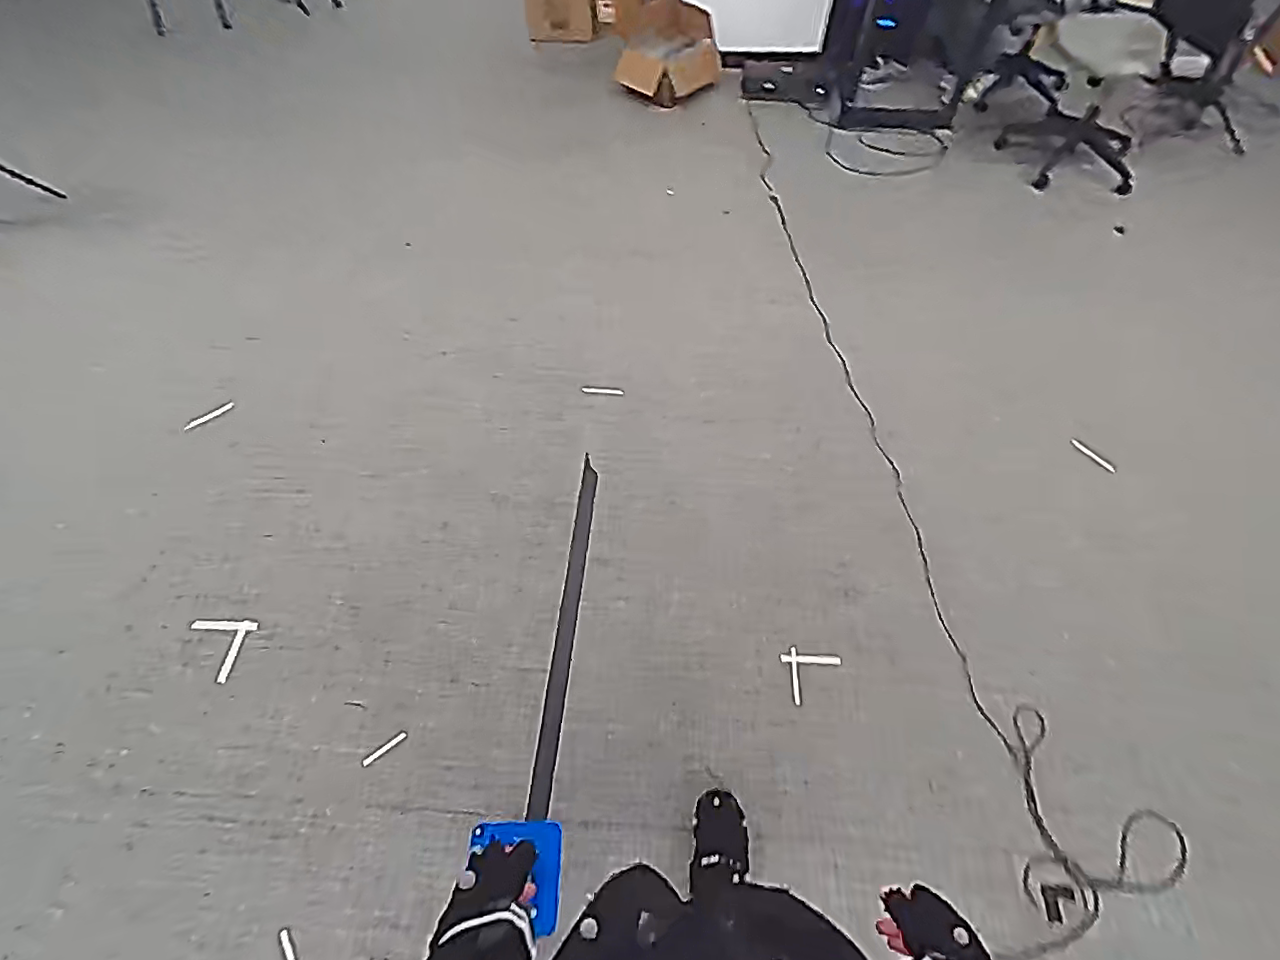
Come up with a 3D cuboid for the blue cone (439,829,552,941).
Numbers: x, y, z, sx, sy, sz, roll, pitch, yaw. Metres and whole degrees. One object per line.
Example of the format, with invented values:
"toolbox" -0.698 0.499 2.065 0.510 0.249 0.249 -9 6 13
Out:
"blue cone" -0.289 0.767 1.012 0.192 0.380 0.193 0 57 1
